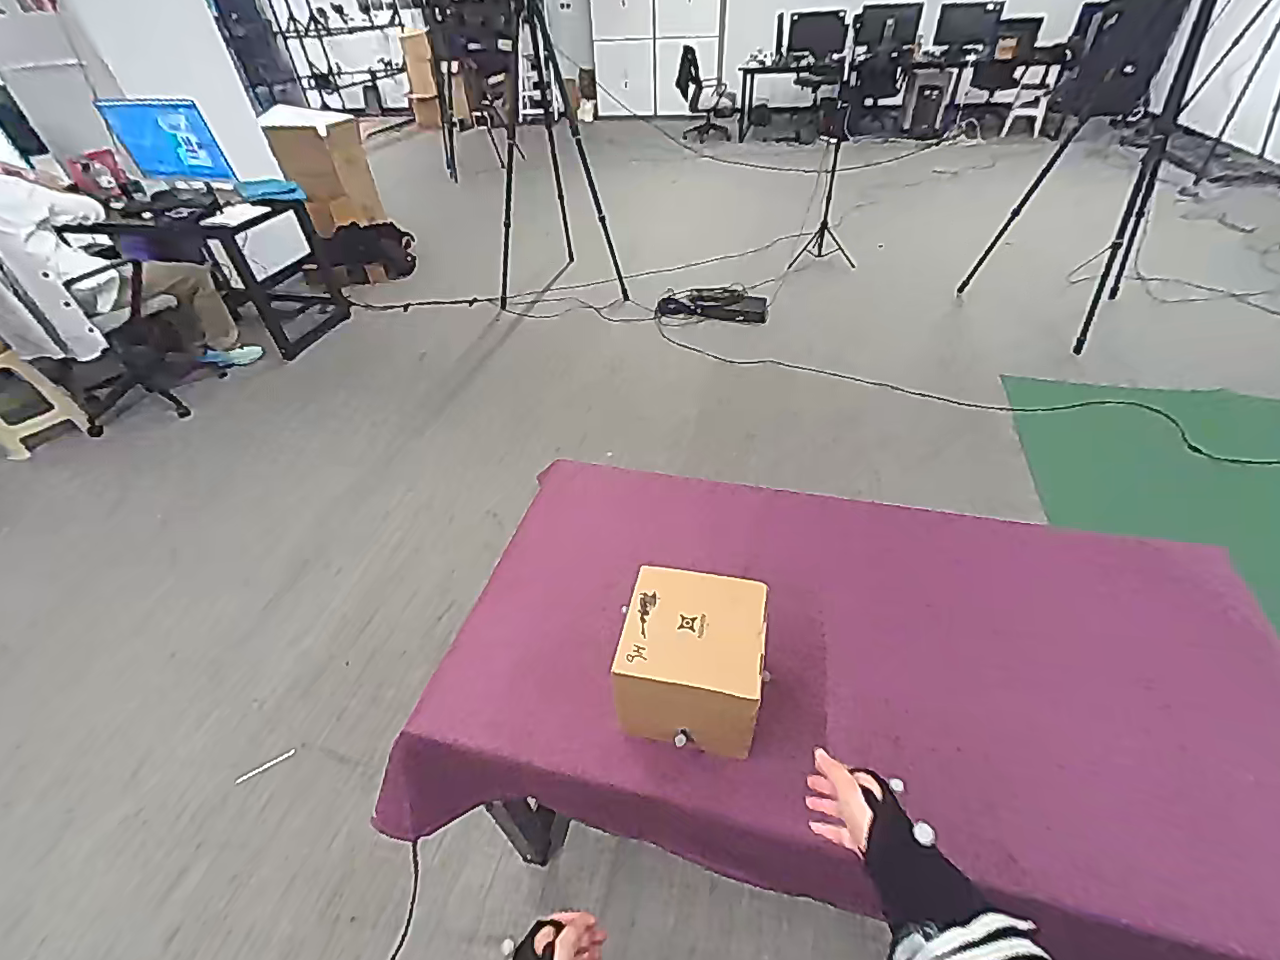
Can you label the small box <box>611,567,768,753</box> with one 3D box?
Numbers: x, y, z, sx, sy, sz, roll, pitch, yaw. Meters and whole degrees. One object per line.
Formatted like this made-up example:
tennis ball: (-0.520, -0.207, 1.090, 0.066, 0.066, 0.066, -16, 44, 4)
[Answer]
small box: (0.069, 0.245, 0.732, 0.179, 0.176, 0.168, 7, 43, 11)
